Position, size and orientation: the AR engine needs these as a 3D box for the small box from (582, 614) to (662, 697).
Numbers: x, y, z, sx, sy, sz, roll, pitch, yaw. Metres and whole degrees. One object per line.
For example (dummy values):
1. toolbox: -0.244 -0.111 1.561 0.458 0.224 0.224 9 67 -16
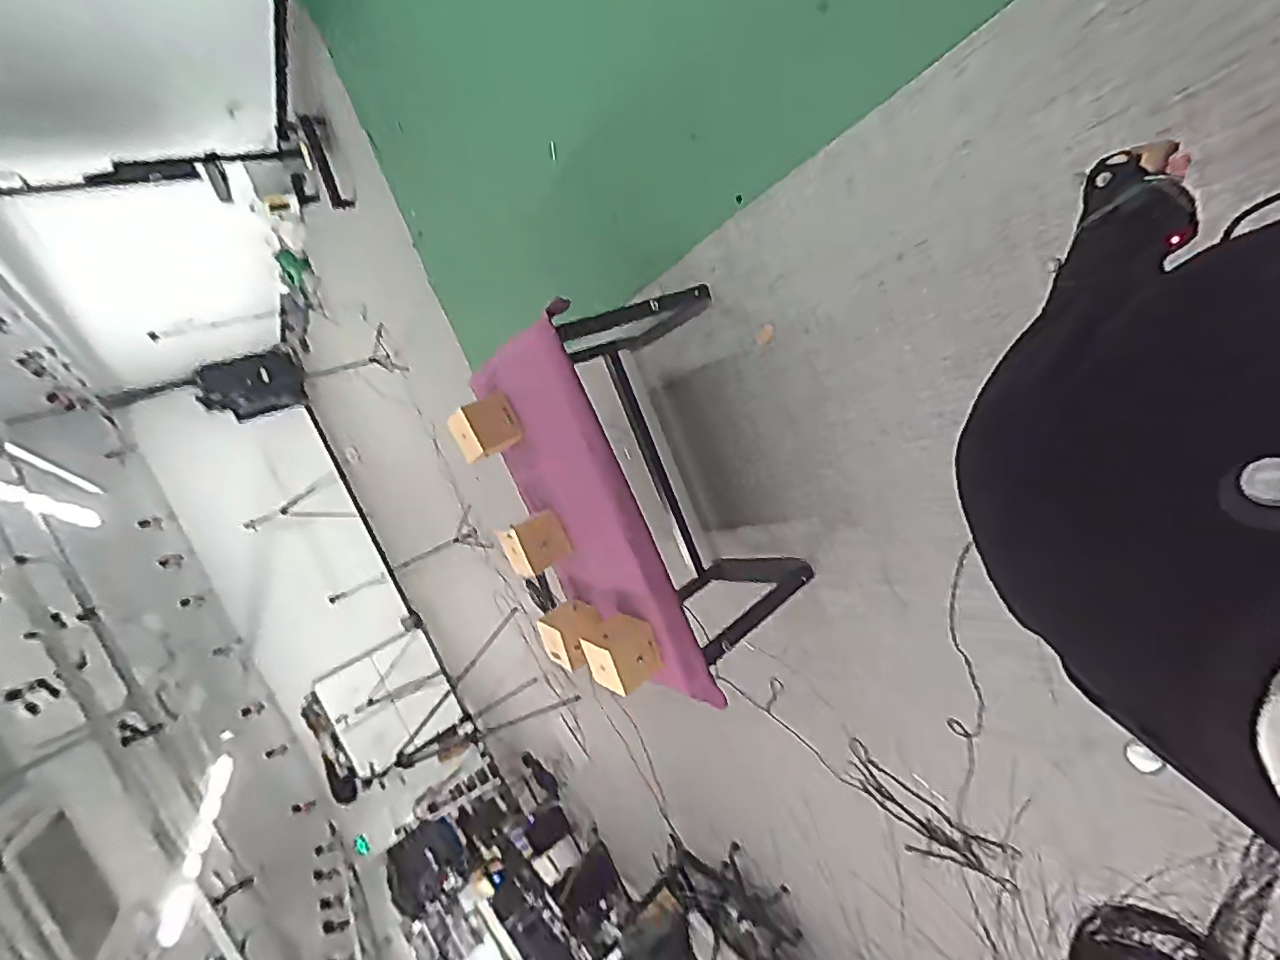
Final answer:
1. small box: -0.050 0.551 1.726 0.179 0.176 0.168 0 112 53

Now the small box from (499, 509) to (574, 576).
1. small box: -0.363 0.222 1.914 0.168 0.176 0.179 -14 102 53

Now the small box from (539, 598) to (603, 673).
1. small box: -0.240 0.565 1.983 0.168 0.176 0.179 5 115 50

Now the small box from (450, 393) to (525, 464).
1. small box: -0.519 -0.176 1.846 0.179 0.176 0.168 -21 97 54
